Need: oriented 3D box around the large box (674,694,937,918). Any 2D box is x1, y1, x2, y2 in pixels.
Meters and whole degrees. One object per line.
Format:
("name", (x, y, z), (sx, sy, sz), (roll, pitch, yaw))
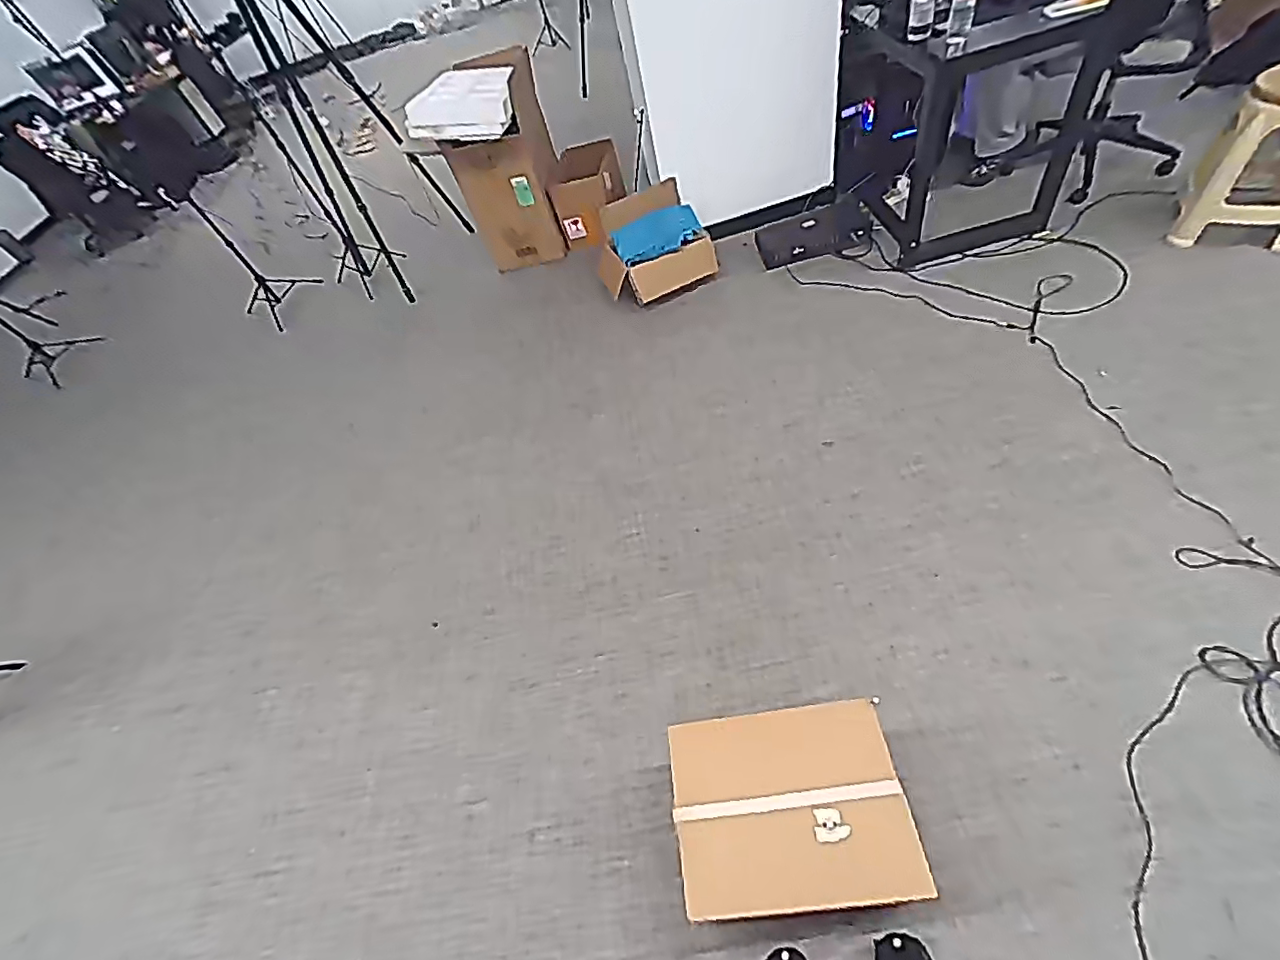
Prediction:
("large box", (0.305, 0.666, 1.094), (0.408, 0.320, 0.320), (-12, 51, 7))
